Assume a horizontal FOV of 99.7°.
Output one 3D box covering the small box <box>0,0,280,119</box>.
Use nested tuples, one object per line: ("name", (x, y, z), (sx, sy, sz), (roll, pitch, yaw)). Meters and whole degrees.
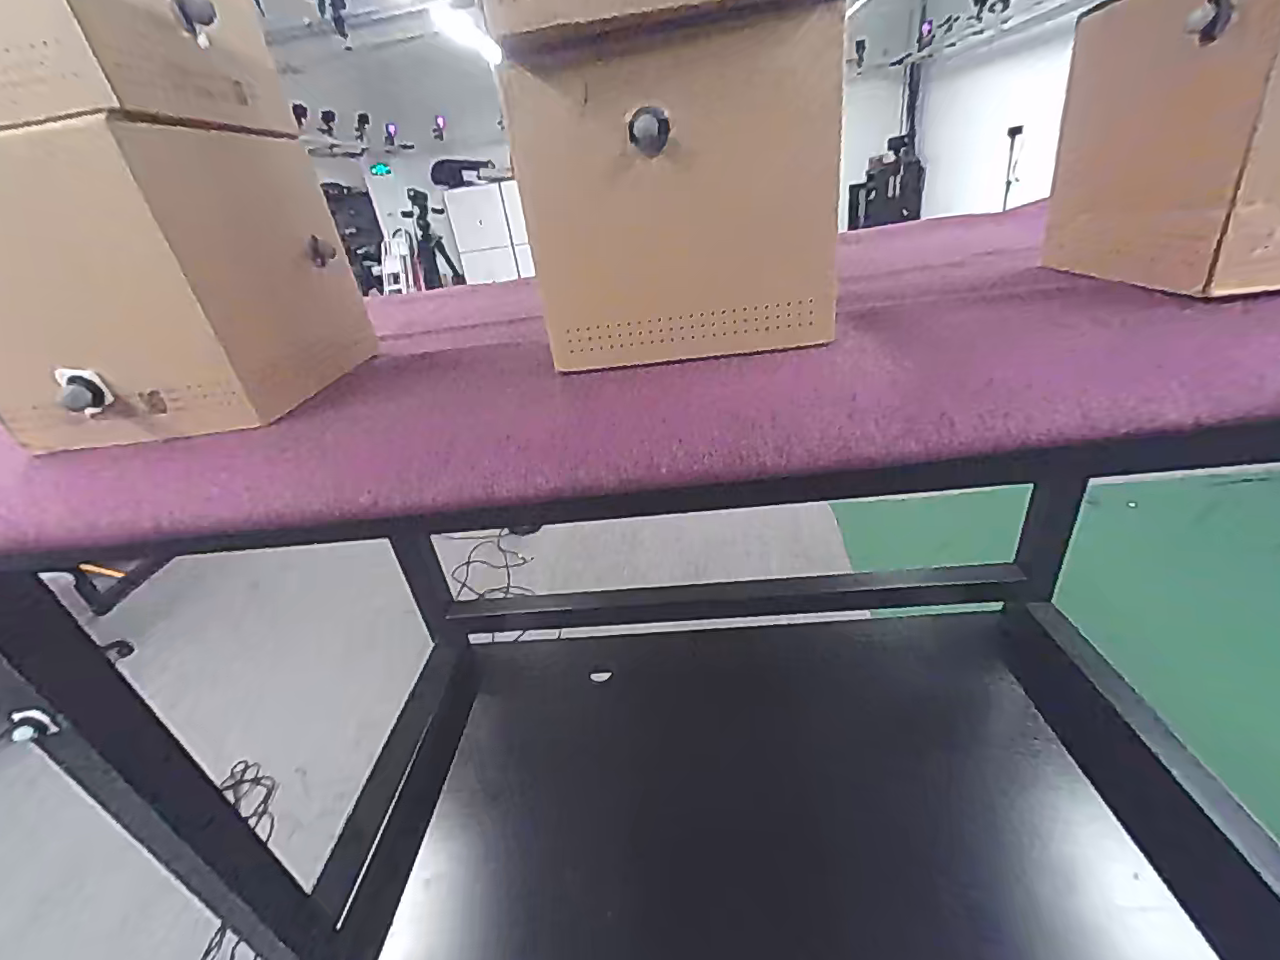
("small box", (-0.353, -0.283, 0.292), (0.179, 0.176, 0.168), (-8, 29, 3))

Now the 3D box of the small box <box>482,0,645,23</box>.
("small box", (-0.006, -0.331, 0.277), (0.168, 0.176, 0.179), (-7, 28, 3))

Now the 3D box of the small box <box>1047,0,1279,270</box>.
("small box", (0.378, -0.225, 0.313), (0.168, 0.176, 0.179), (-5, 27, 10))

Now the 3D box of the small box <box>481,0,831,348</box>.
("small box", (0.022, -0.193, 0.362), (0.179, 0.176, 0.168), (-5, 28, 7))

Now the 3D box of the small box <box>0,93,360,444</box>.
("small box", (-0.324, -0.140, 0.370), (0.168, 0.176, 0.179), (-8, 30, 4))
